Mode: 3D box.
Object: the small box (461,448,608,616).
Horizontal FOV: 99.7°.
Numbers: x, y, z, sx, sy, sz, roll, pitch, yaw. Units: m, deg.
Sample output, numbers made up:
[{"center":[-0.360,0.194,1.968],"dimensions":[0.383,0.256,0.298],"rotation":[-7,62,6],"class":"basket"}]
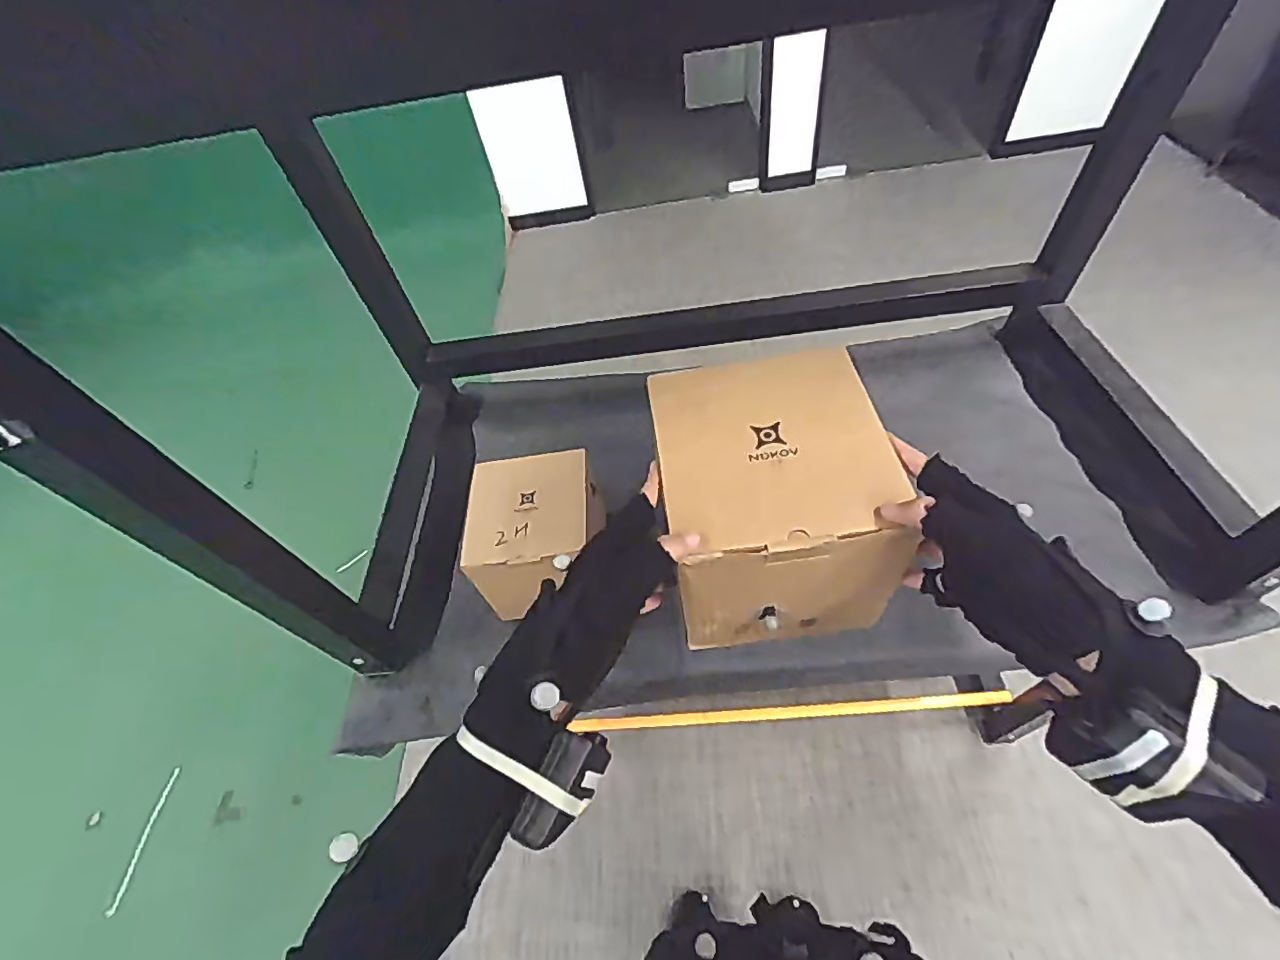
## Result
[{"center":[-0.142,0.079,0.797],"dimensions":[0.168,0.176,0.179],"rotation":[-8,52,4],"class":"small box"}]
